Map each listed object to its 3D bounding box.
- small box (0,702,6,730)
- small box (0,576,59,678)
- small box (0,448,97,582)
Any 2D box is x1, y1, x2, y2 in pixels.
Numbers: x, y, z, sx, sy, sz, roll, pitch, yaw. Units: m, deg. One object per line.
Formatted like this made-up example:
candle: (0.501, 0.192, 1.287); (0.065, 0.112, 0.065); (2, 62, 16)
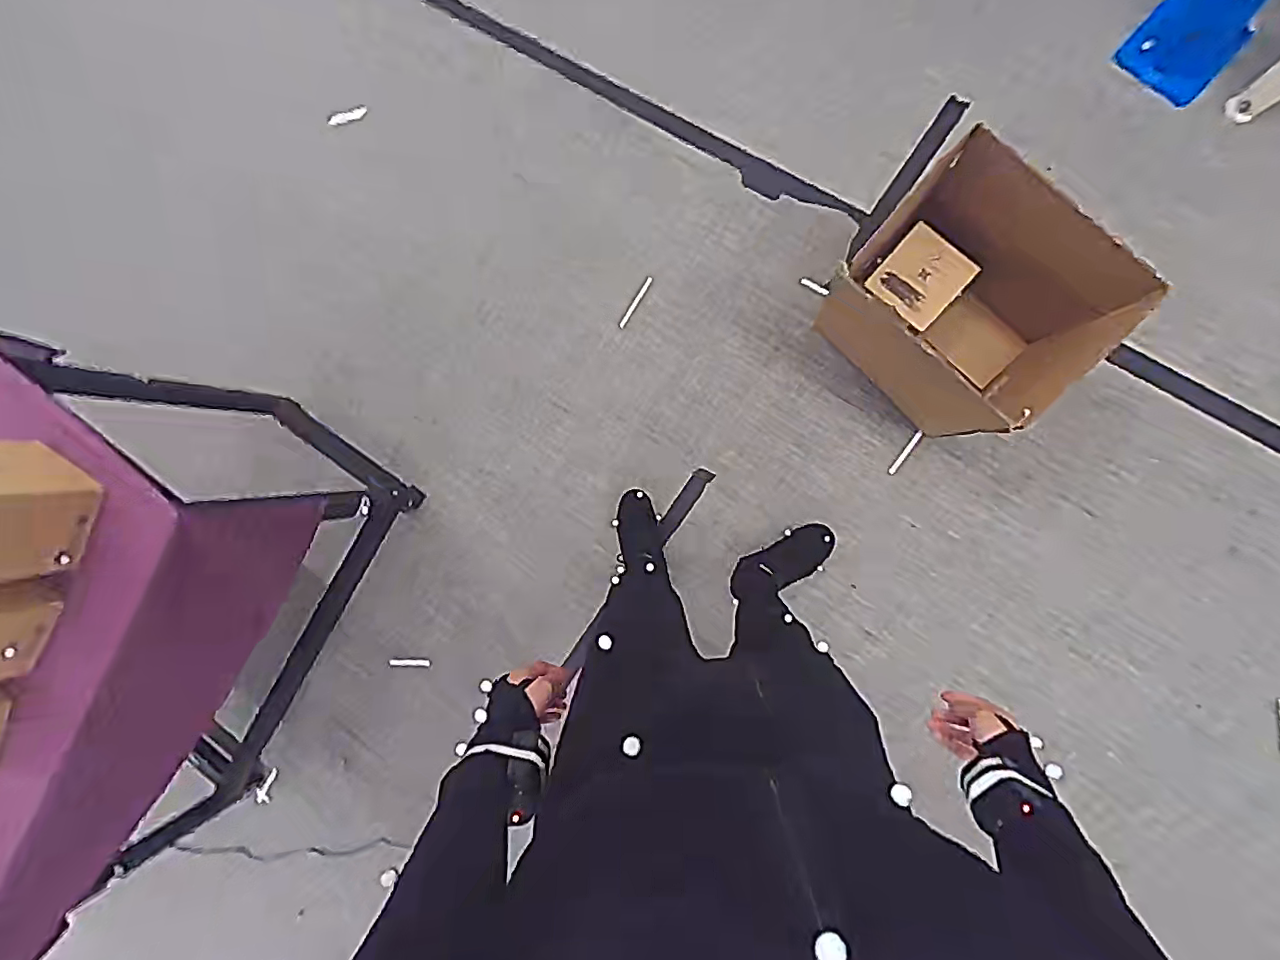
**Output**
small box: (-1.282, 0.453, 0.939); (0.179, 0.176, 0.168); (25, 96, 10)
small box: (-1.155, 0.243, 0.903); (0.179, 0.176, 0.168); (35, 99, 9)
small box: (-1.049, 0.053, 0.874); (0.179, 0.176, 0.168); (29, 98, 11)
